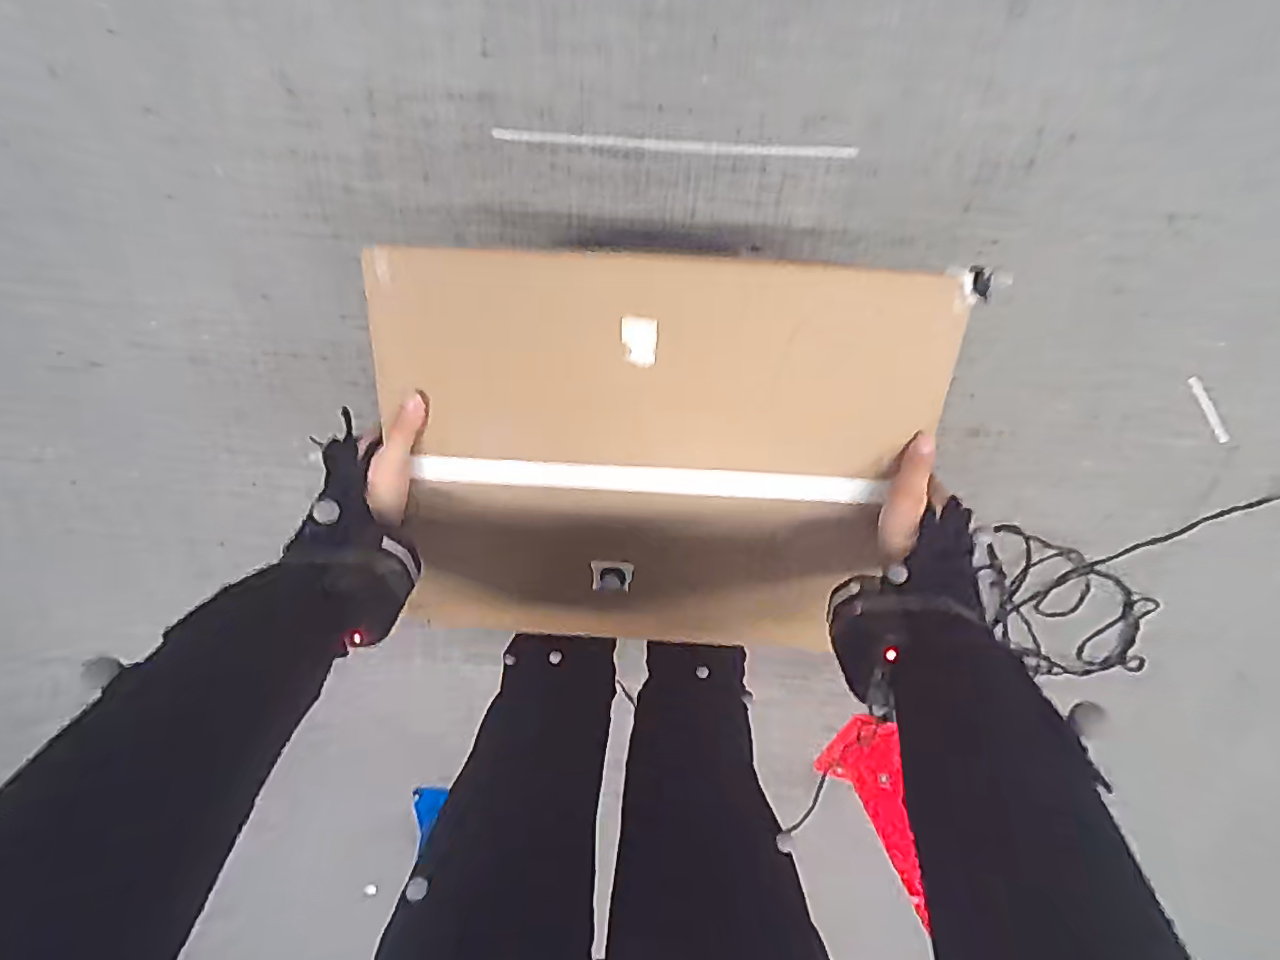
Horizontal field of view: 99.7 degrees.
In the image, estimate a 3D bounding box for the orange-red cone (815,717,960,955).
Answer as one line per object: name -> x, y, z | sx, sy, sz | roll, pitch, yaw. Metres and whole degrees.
orange-red cone -> 0.505, 0.677, 1.029 | 0.199, 0.360, 0.198 | 21, 116, -9
